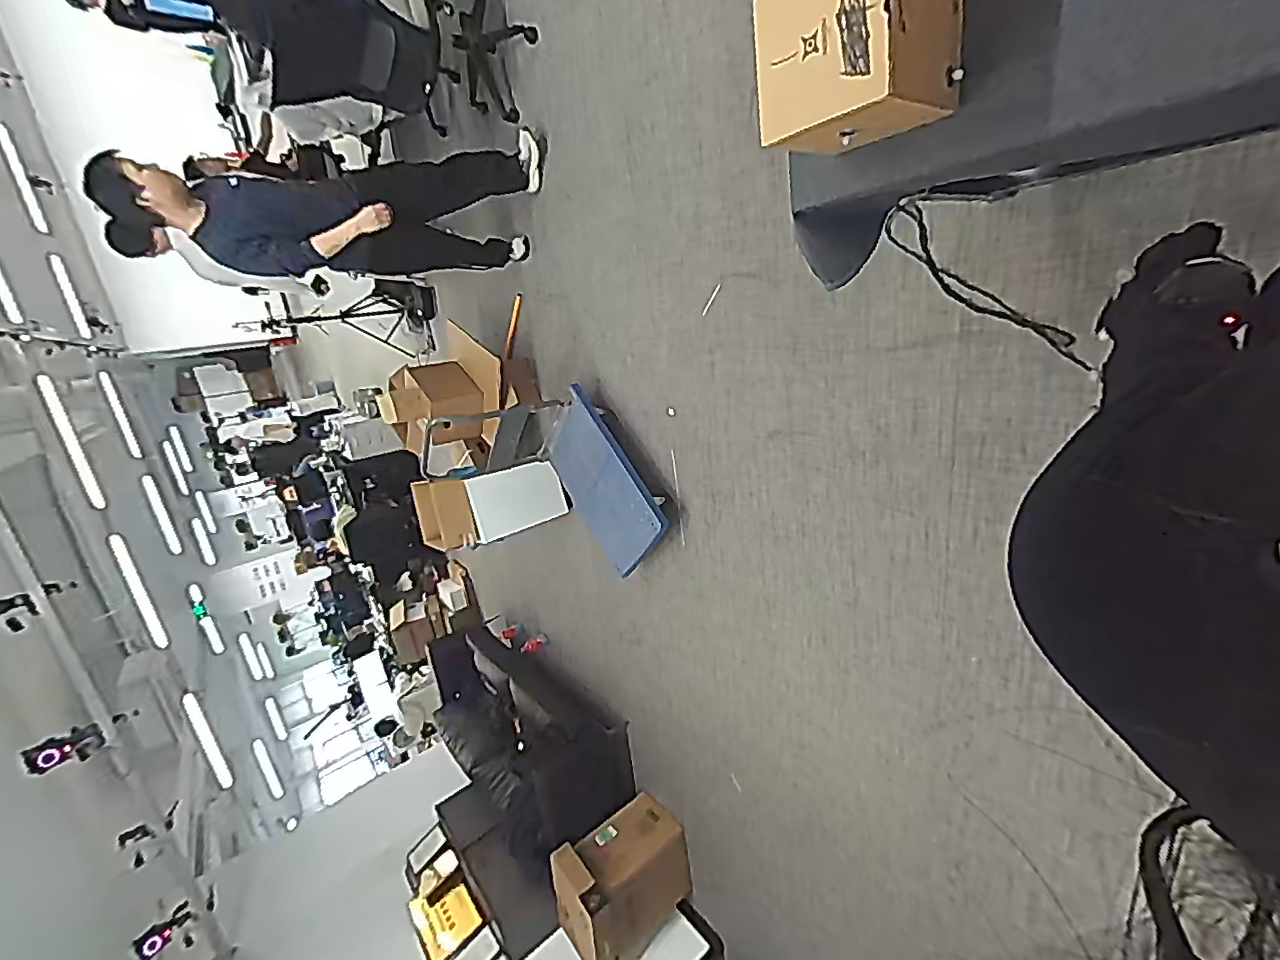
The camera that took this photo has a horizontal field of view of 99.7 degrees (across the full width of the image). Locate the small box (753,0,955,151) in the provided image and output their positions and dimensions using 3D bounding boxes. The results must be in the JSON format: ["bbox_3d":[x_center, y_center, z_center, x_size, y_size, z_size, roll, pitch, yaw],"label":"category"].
[{"bbox_3d":[0.264,-0.522,0.662,0.179,0.176,0.168,14,117,51],"label":"small box"}]
